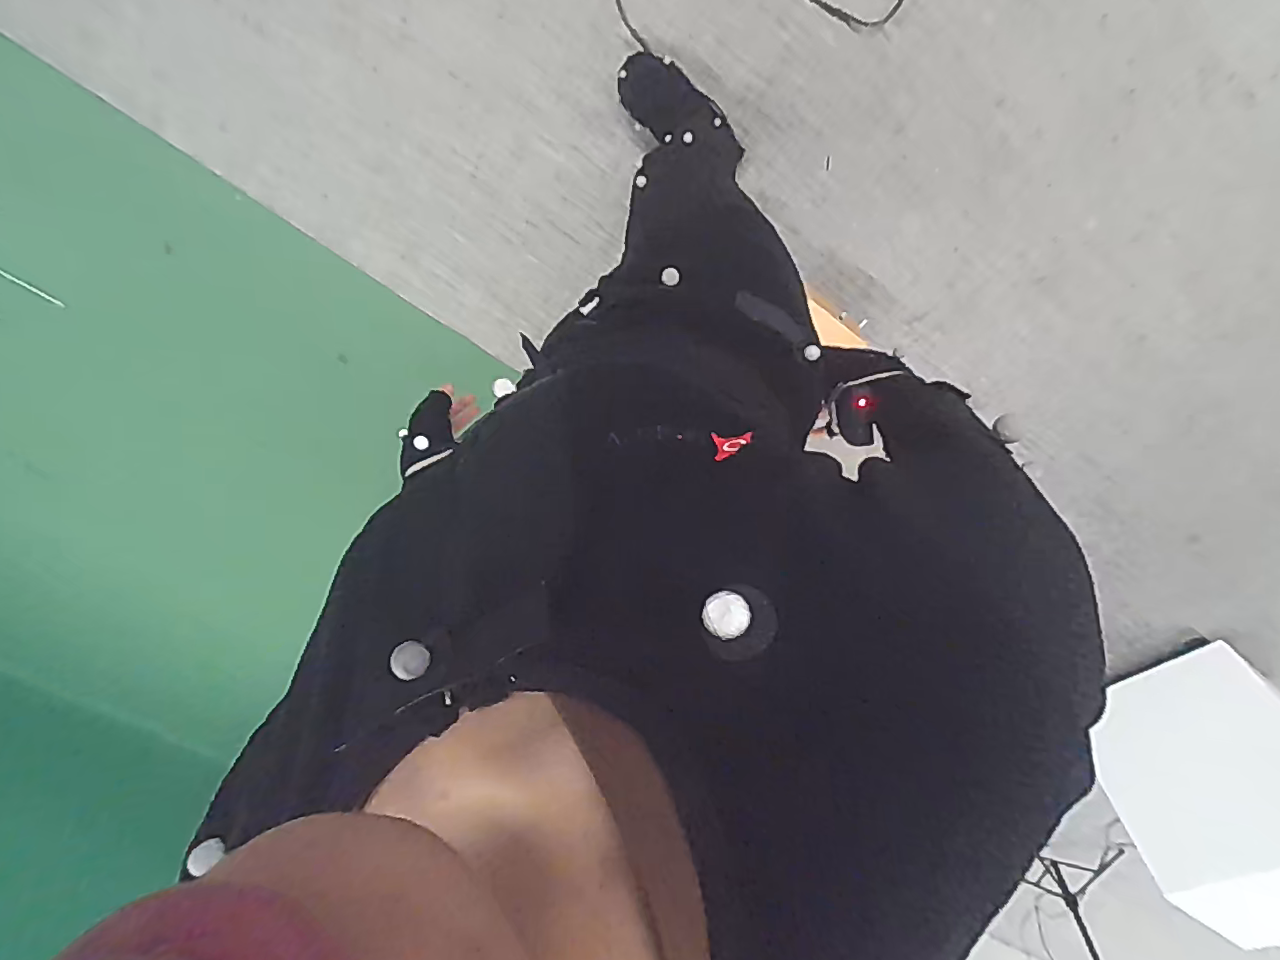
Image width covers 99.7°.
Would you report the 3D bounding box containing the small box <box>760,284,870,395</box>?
[{"bbox_3d":[0.396,-0.335,1.262,0.179,0.176,0.168,32,123,-12],"label":"small box"}]
